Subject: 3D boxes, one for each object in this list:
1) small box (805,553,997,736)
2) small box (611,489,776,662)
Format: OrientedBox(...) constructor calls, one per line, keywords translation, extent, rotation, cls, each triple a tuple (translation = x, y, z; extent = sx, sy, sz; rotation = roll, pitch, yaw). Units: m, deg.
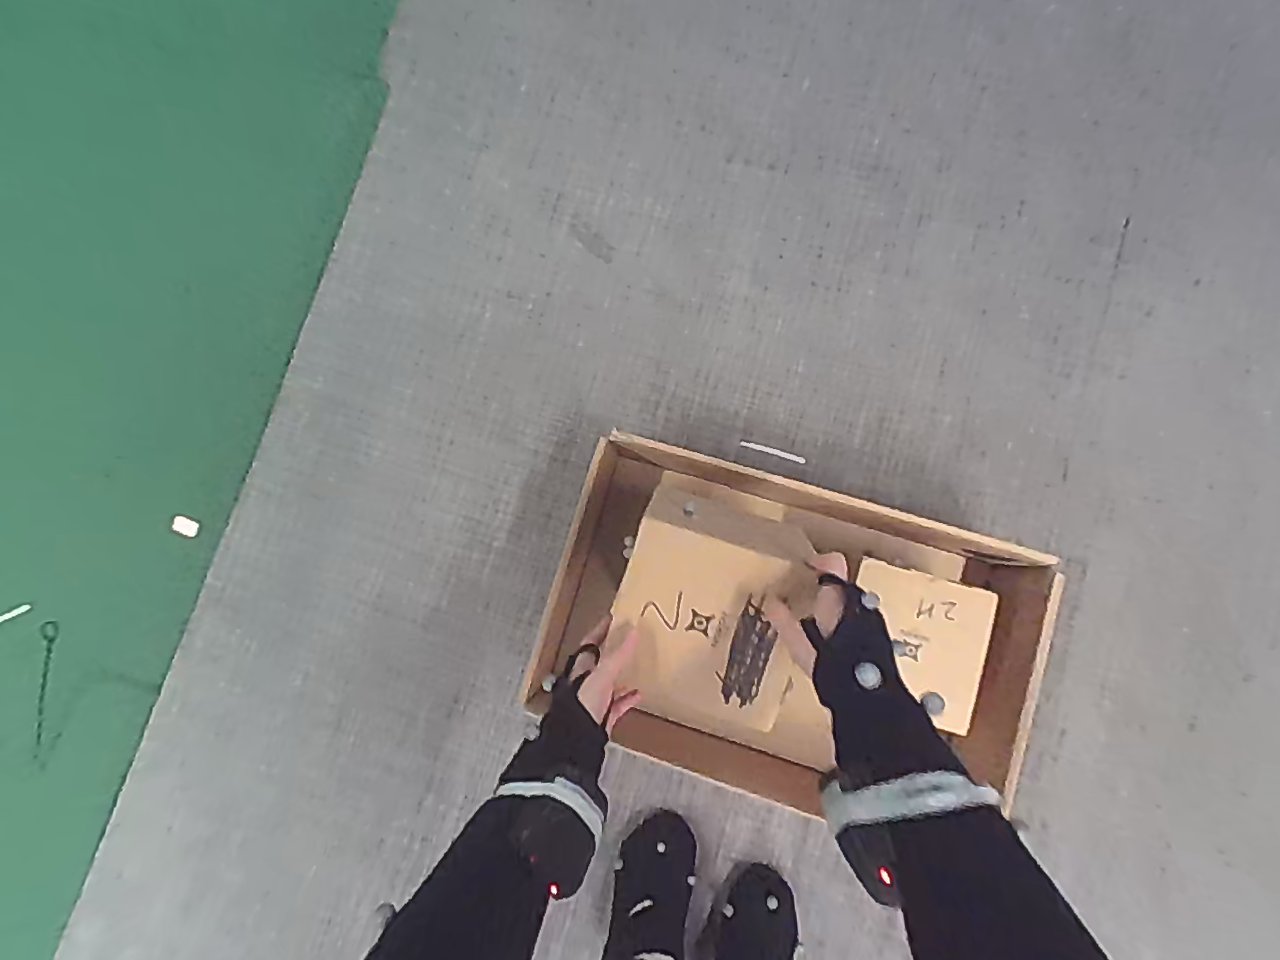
OrientedBox(translation=(0.335, 0.206, 0.732), extent=(0.168, 0.176, 0.179), rotation=(16, 86, 6), cls="small box")
OrientedBox(translation=(0.074, 0.128, 0.763), extent=(0.168, 0.176, 0.179), rotation=(20, 85, 6), cls="small box")
